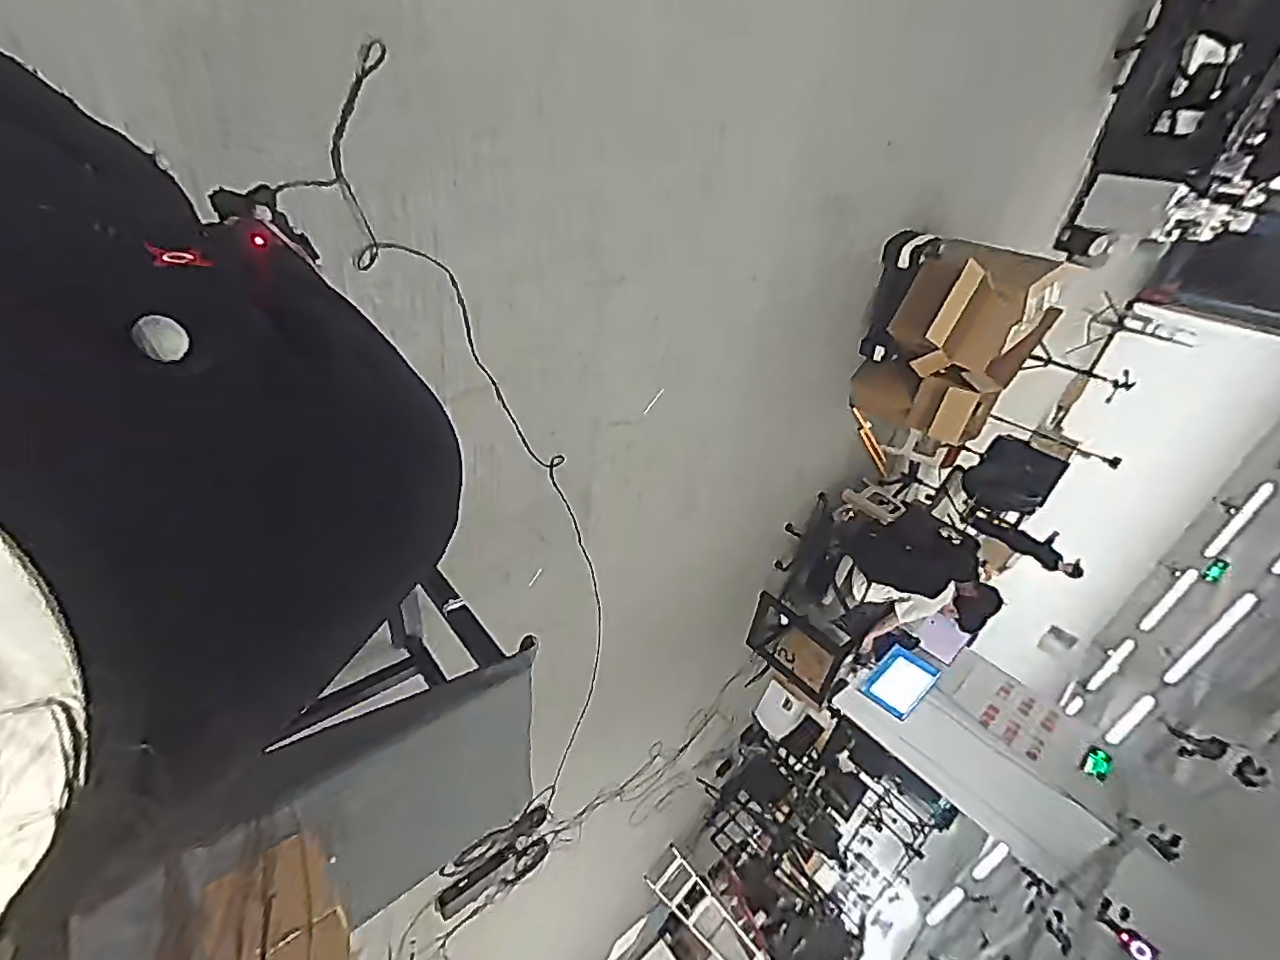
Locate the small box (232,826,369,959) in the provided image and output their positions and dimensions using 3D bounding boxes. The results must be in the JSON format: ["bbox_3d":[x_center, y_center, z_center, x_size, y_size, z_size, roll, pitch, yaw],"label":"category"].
[{"bbox_3d":[-0.610,0.774,0.978,0.168,0.176,0.179,-19,131,-37],"label":"small box"}]

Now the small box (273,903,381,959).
[{"bbox_3d":[-0.509,0.852,0.874,0.179,0.176,0.168,-20,132,-37],"label":"small box"}]
